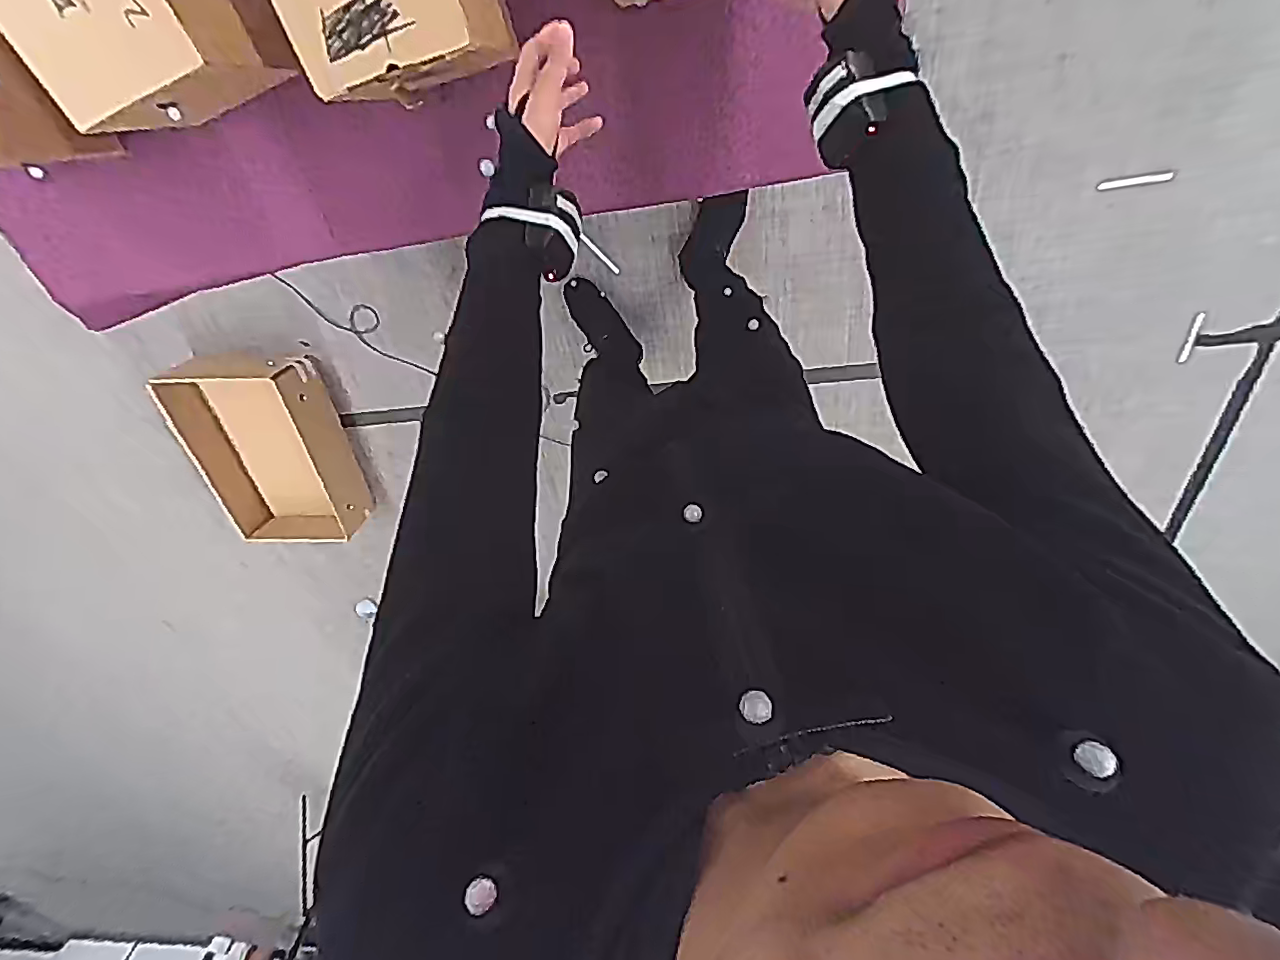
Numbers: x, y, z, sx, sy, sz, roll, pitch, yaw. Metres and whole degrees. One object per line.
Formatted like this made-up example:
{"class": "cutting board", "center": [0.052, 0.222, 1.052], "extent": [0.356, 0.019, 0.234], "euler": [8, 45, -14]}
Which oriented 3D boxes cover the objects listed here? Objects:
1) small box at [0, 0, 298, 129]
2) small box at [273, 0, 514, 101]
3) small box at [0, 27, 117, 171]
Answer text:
{"class": "small box", "center": [-0.503, -0.478, 0.547], "extent": [0.179, 0.176, 0.168], "euler": [-13, 124, 13]}
{"class": "small box", "center": [-0.240, -0.489, 0.517], "extent": [0.168, 0.176, 0.179], "euler": [-10, 123, 11]}
{"class": "small box", "center": [-0.757, -0.444, 0.595], "extent": [0.168, 0.176, 0.179], "euler": [-2, 125, 5]}
